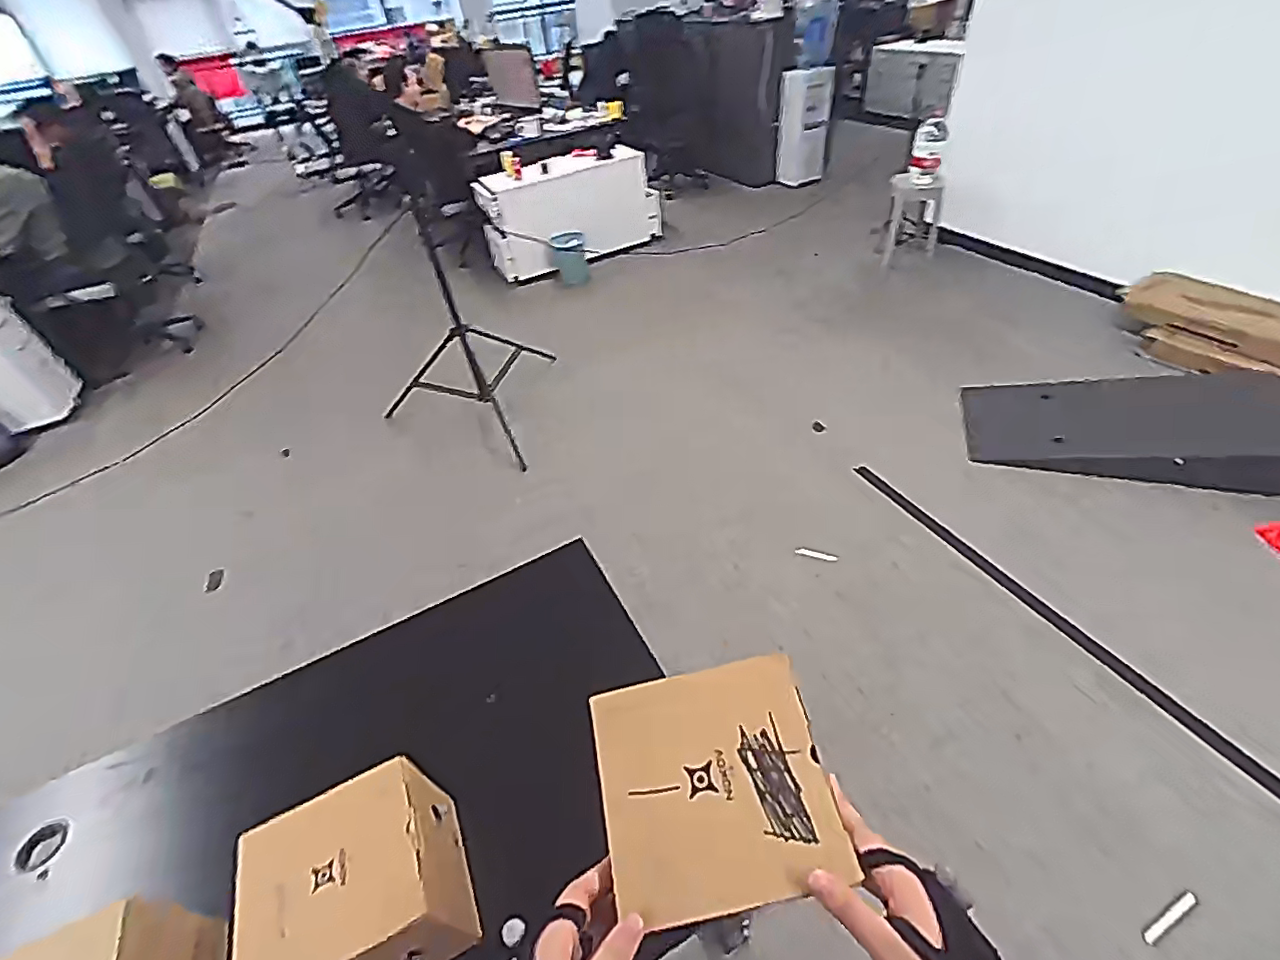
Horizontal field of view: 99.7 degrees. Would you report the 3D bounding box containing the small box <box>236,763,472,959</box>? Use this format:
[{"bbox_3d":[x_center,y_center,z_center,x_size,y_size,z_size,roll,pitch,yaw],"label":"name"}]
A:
[{"bbox_3d":[-0.301,0.458,0.595,0.179,0.176,0.168,-25,44,-15],"label":"small box"}]

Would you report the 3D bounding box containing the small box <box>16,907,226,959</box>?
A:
[{"bbox_3d":[-0.543,0.562,0.521,0.179,0.176,0.168,-23,44,-15],"label":"small box"}]
